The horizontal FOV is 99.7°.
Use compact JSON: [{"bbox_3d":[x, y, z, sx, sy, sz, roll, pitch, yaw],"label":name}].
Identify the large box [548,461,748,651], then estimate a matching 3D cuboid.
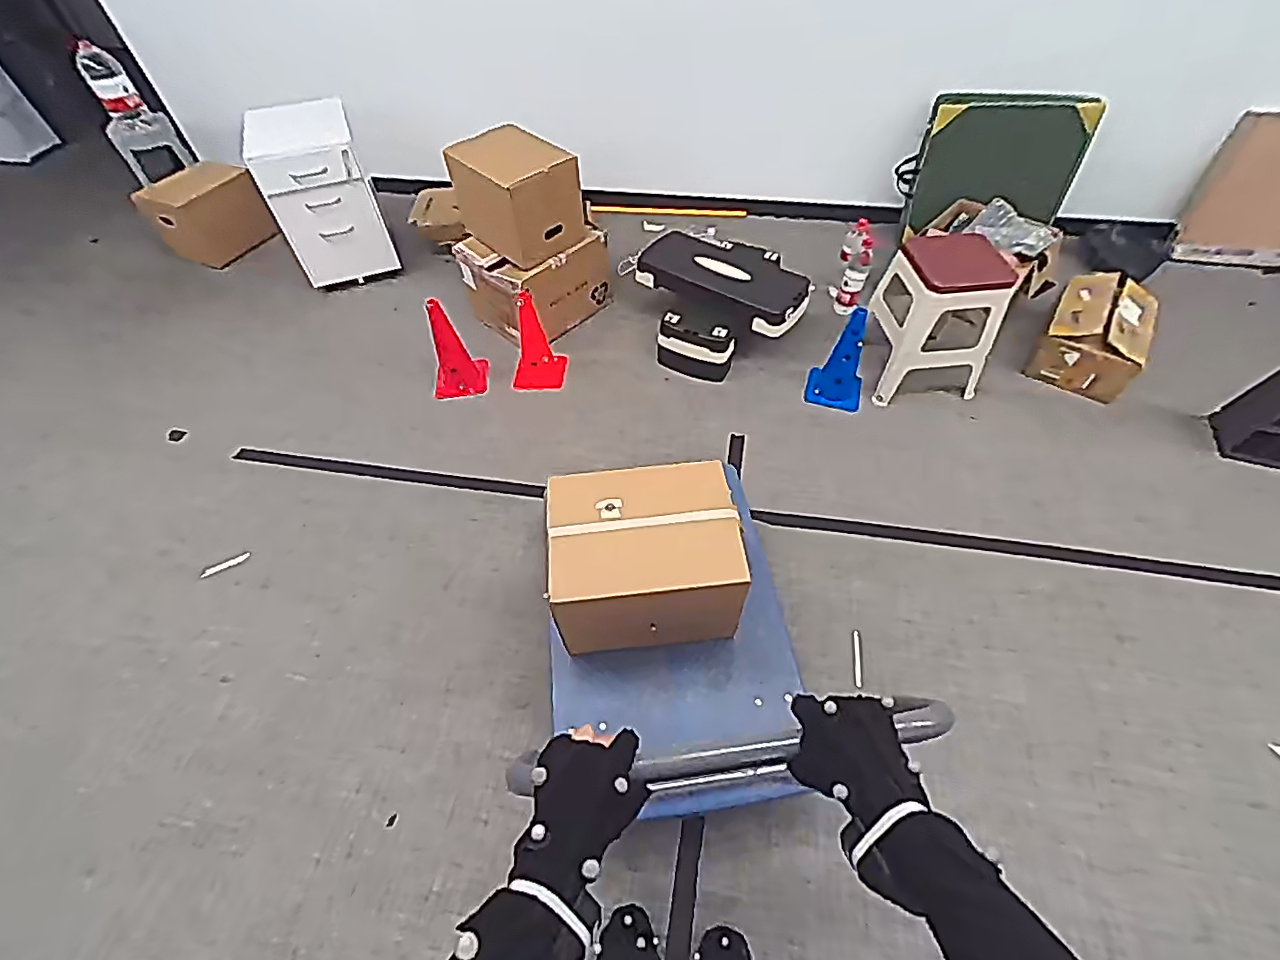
[{"bbox_3d":[0.011,0.188,1.278,0.408,0.320,0.320,-6,53,-2],"label":"large box"}]
